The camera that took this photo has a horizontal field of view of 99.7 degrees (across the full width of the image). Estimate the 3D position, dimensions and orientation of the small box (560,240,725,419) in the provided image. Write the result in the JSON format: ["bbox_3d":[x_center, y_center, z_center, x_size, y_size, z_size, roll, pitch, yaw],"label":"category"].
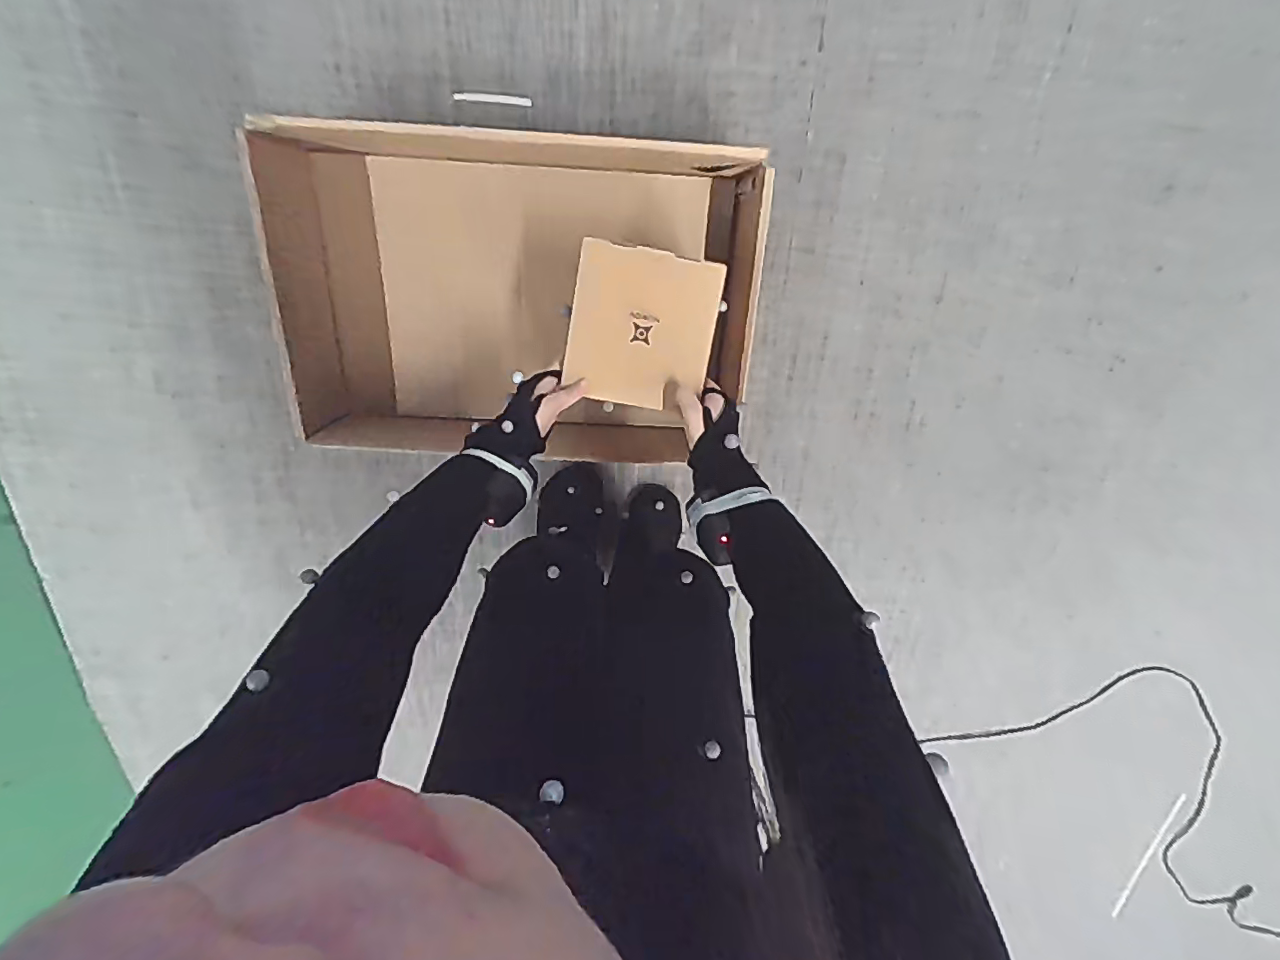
[{"bbox_3d":[-0.003,-0.184,0.701,0.168,0.176,0.179,10,99,-6],"label":"small box"}]
